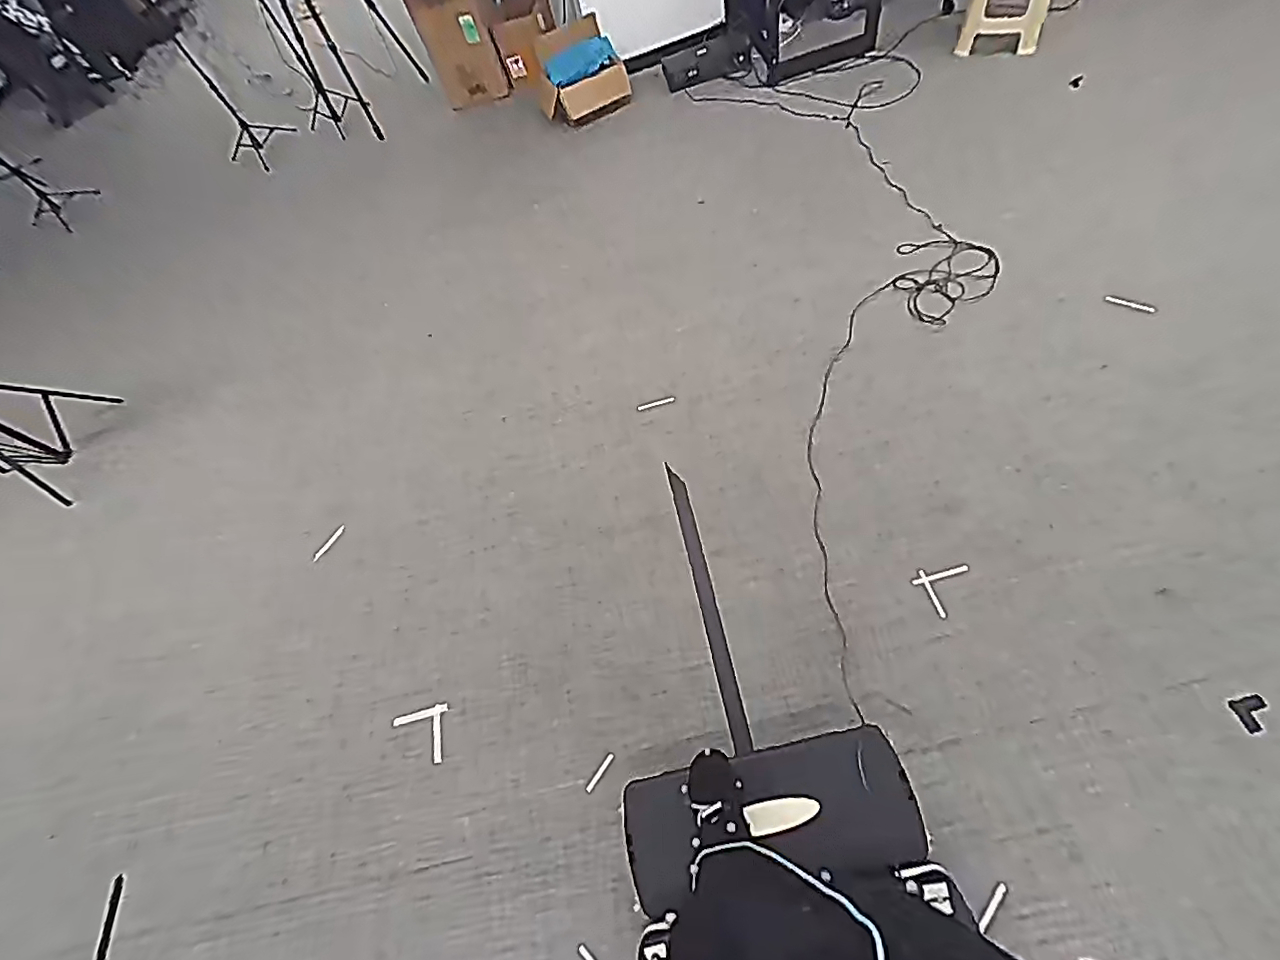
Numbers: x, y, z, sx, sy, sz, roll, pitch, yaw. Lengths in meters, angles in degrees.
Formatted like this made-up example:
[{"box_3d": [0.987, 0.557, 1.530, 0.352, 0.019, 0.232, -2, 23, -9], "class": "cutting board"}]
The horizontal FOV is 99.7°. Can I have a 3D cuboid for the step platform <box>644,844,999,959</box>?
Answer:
[{"box_3d": [0.352, 0.981, 1.097, 0.684, 0.204, 0.286, -18, 57, 5], "class": "step platform"}]
